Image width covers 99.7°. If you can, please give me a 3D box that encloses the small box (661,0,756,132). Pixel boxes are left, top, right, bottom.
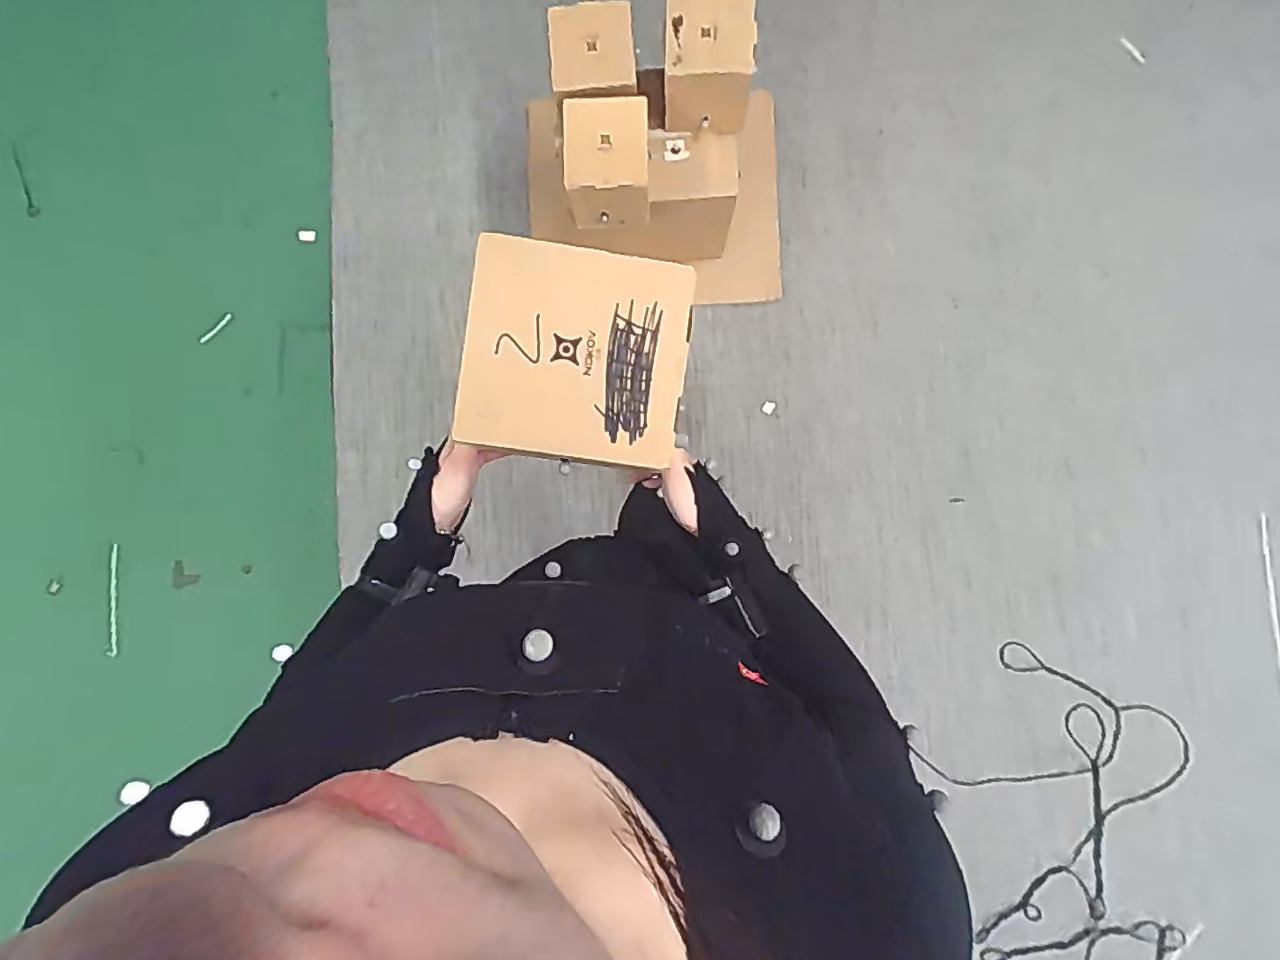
[{"bbox_3d":[0.136,-0.857,1.123,0.179,0.176,0.168,2,88,2],"label":"small box"}]

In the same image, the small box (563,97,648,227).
[{"bbox_3d":[-0.068,-0.653,1.123,0.168,0.176,0.179,-1,90,1],"label":"small box"}]
